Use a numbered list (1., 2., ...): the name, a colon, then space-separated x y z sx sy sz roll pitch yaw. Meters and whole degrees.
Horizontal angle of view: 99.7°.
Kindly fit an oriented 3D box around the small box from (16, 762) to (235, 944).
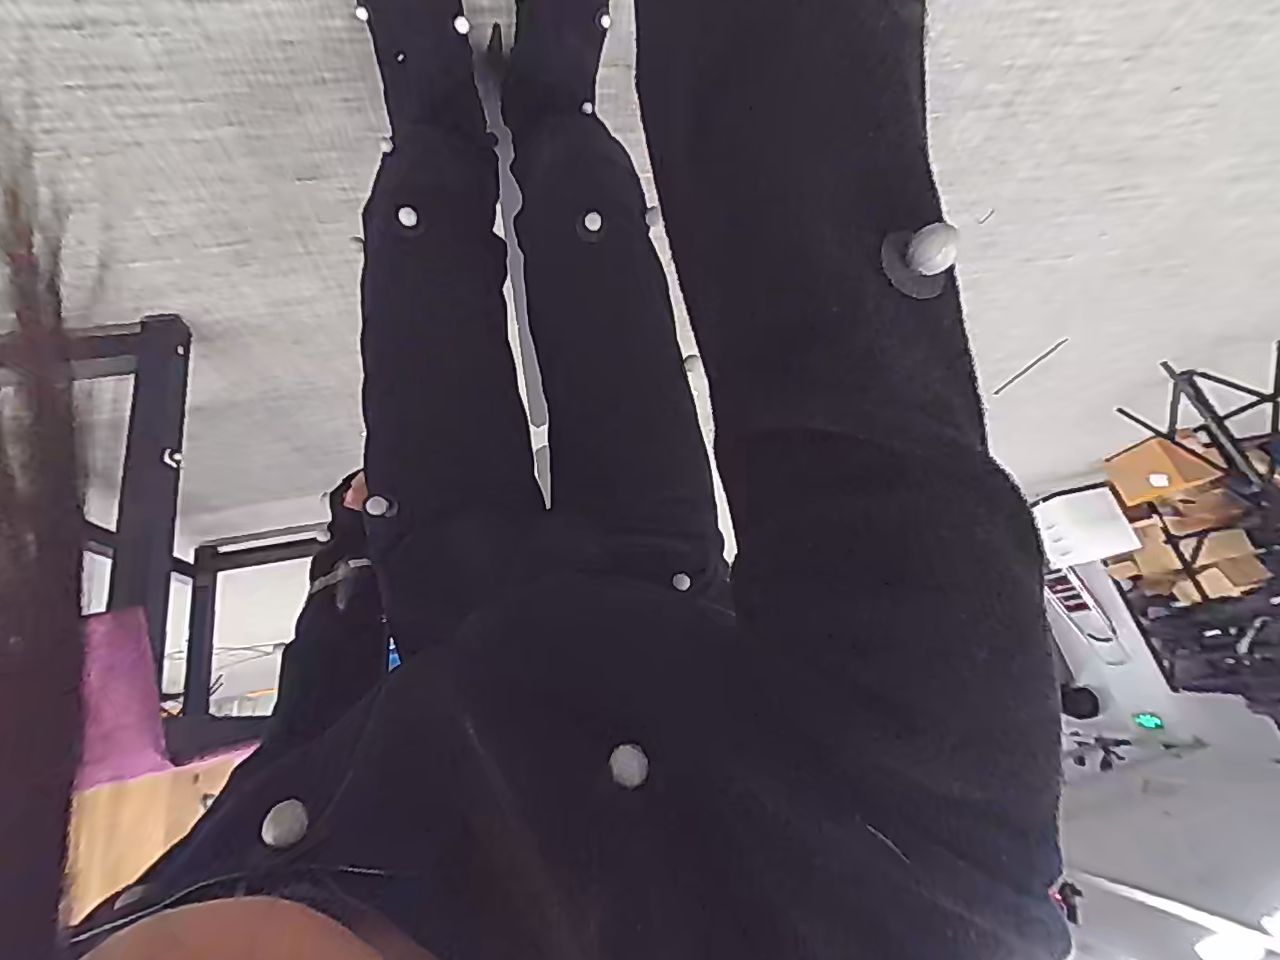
1. small box: -0.746 0.538 0.811 0.179 0.176 0.168 -10 161 -11
